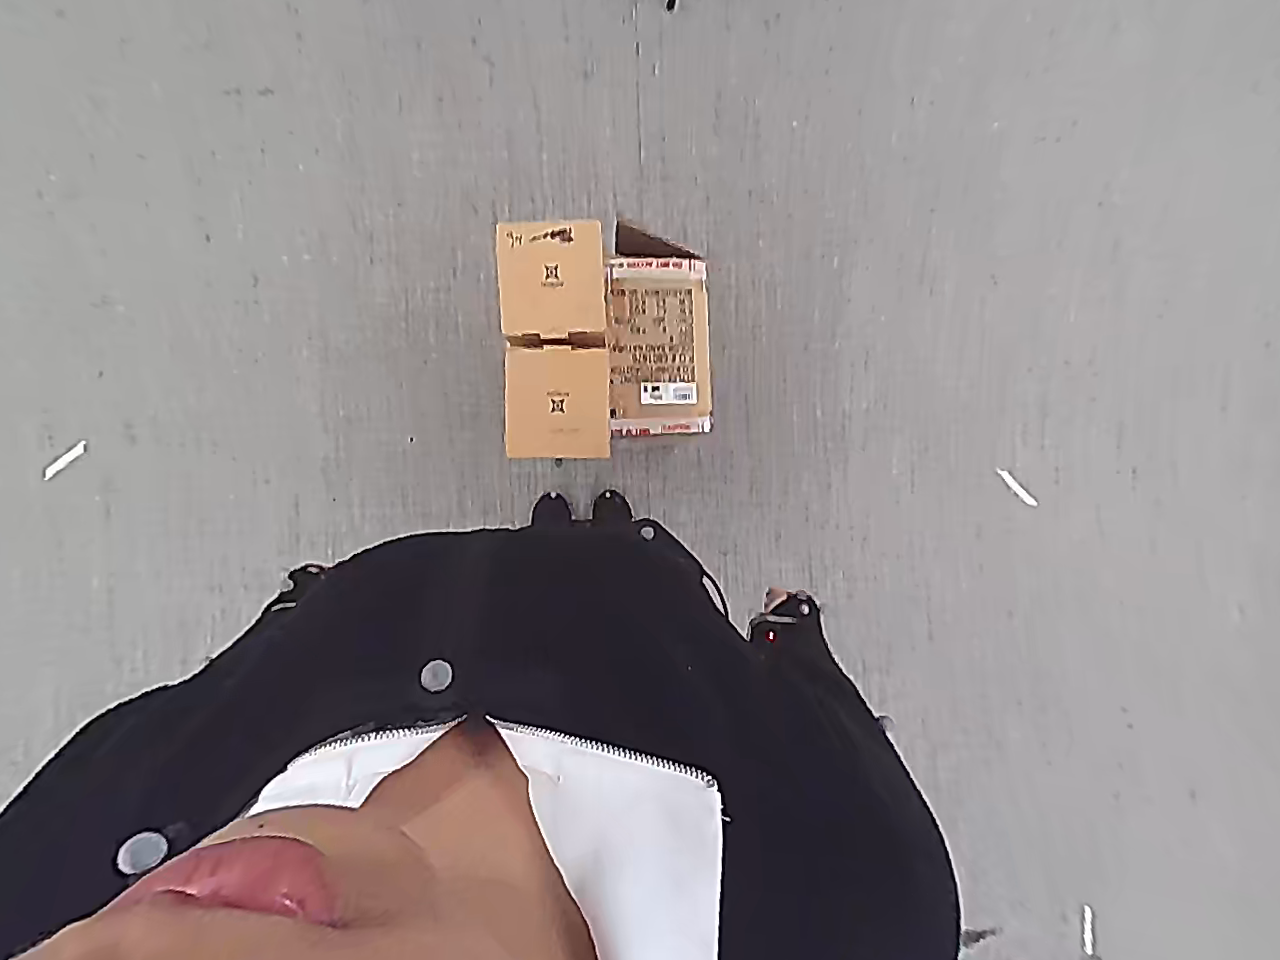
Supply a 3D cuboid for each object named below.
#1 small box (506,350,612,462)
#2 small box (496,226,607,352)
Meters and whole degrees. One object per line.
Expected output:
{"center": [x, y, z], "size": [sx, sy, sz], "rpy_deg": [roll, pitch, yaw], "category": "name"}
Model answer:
{"center": [-0.134, -0.120, 0.935], "size": [0.168, 0.176, 0.179], "rpy_deg": [0, 93, -2], "category": "small box"}
{"center": [-0.142, -0.312, 0.926], "size": [0.168, 0.176, 0.179], "rpy_deg": [-3, 94, -3], "category": "small box"}
